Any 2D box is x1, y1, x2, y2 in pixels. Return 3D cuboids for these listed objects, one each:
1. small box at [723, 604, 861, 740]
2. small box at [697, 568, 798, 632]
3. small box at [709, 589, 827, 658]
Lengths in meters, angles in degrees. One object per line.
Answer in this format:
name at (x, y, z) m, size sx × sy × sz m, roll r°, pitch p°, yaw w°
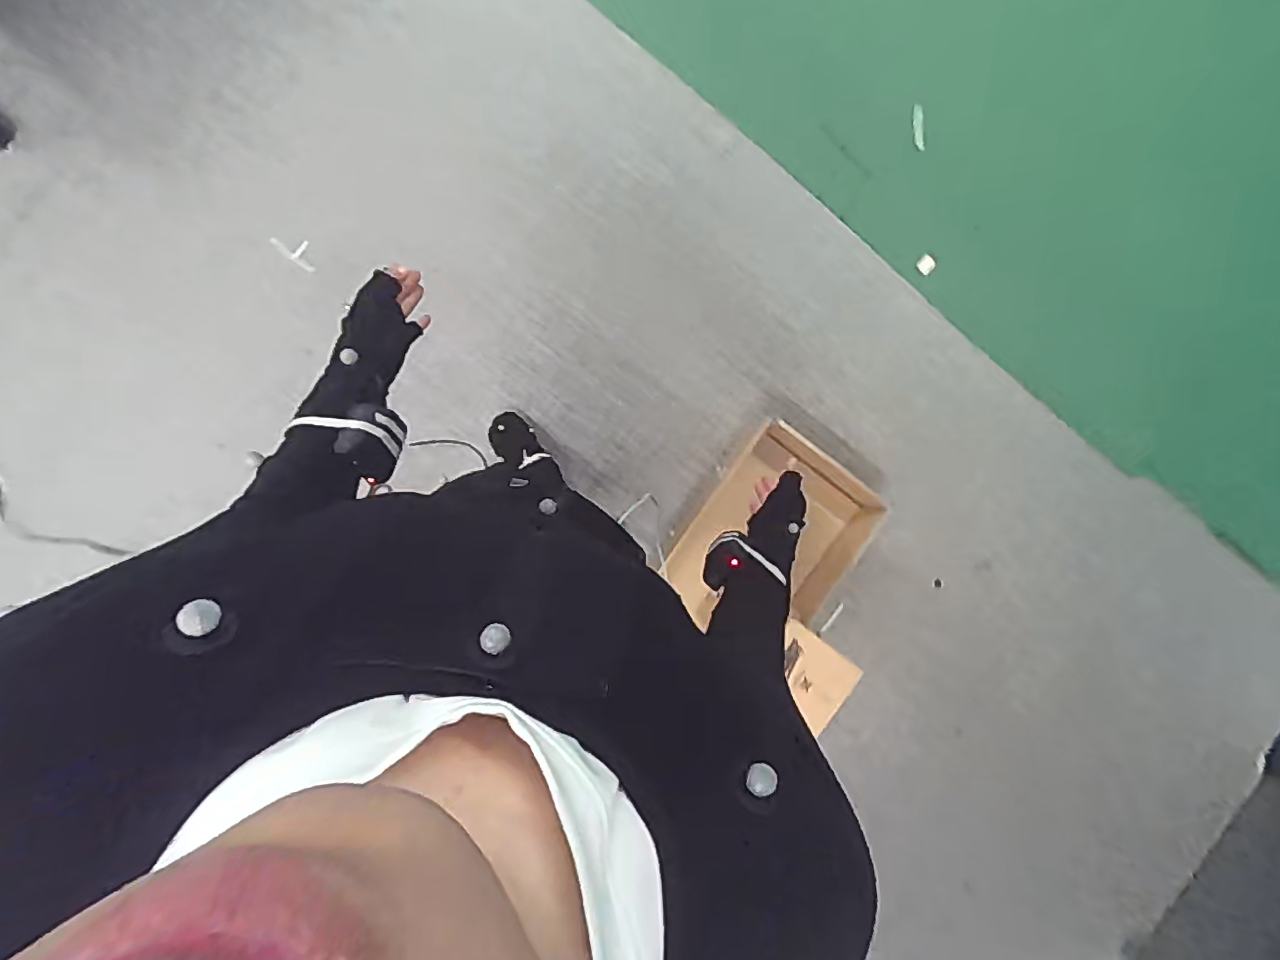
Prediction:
small box at (0.290, 0.367, 1.076) m, size 0.179 × 0.176 × 0.168 m, roll 38°, pitch 89°, yaw -6°
small box at (0.269, 0.343, 1.404) m, size 0.179 × 0.176 × 0.168 m, roll 32°, pitch 88°, yaw -7°
small box at (0.280, 0.365, 1.223) m, size 0.179 × 0.176 × 0.168 m, roll 37°, pitch 89°, yaw -6°
